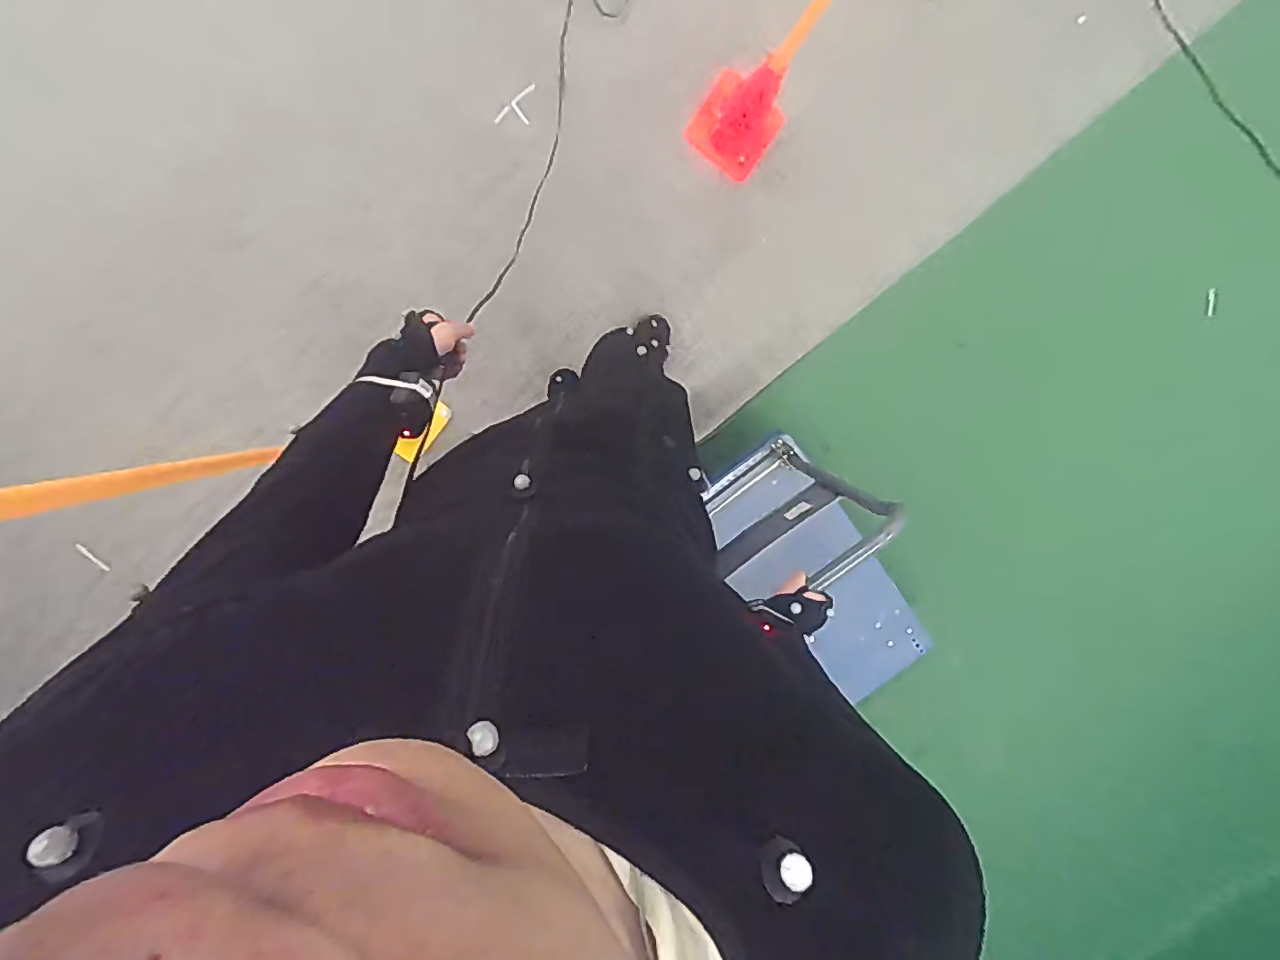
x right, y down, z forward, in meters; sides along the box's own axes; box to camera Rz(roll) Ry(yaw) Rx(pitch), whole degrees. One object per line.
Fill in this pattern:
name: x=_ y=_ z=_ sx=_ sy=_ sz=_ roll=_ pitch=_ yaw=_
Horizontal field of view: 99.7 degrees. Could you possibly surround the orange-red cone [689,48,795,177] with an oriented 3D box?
orange-red cone: x=0.270 y=-0.880 z=1.234 sx=0.198 sy=0.360 sz=0.199 roll=34 pitch=98 yaw=-14
